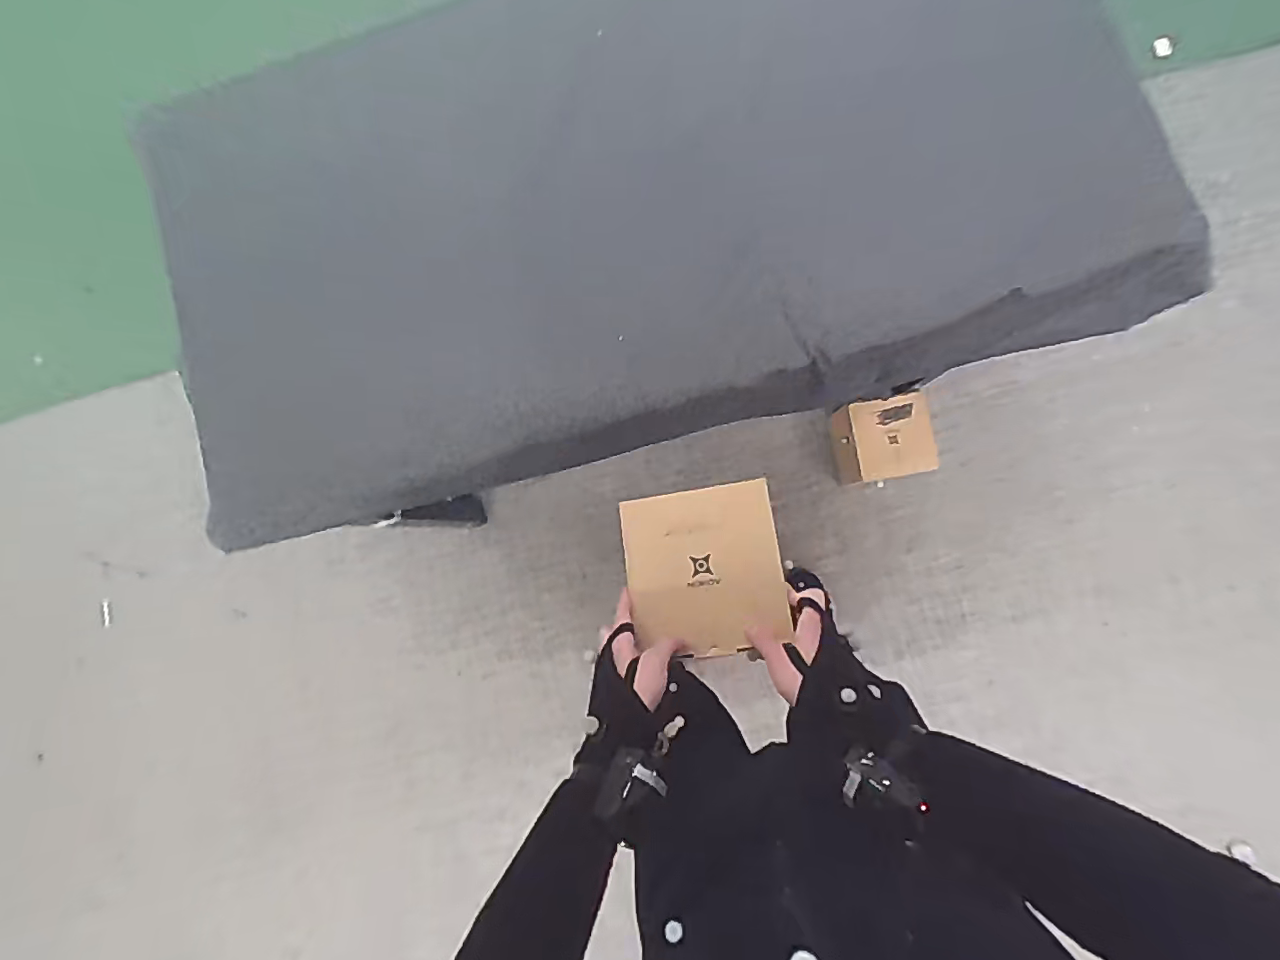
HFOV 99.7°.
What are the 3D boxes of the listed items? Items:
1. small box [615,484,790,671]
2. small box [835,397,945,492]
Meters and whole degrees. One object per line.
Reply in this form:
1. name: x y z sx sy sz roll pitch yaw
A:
1. small box: 0.079 0.120 0.641 0.168 0.176 0.179 -11 73 10
2. small box: 0.562 -0.074 1.239 0.168 0.176 0.179 -10 84 5
